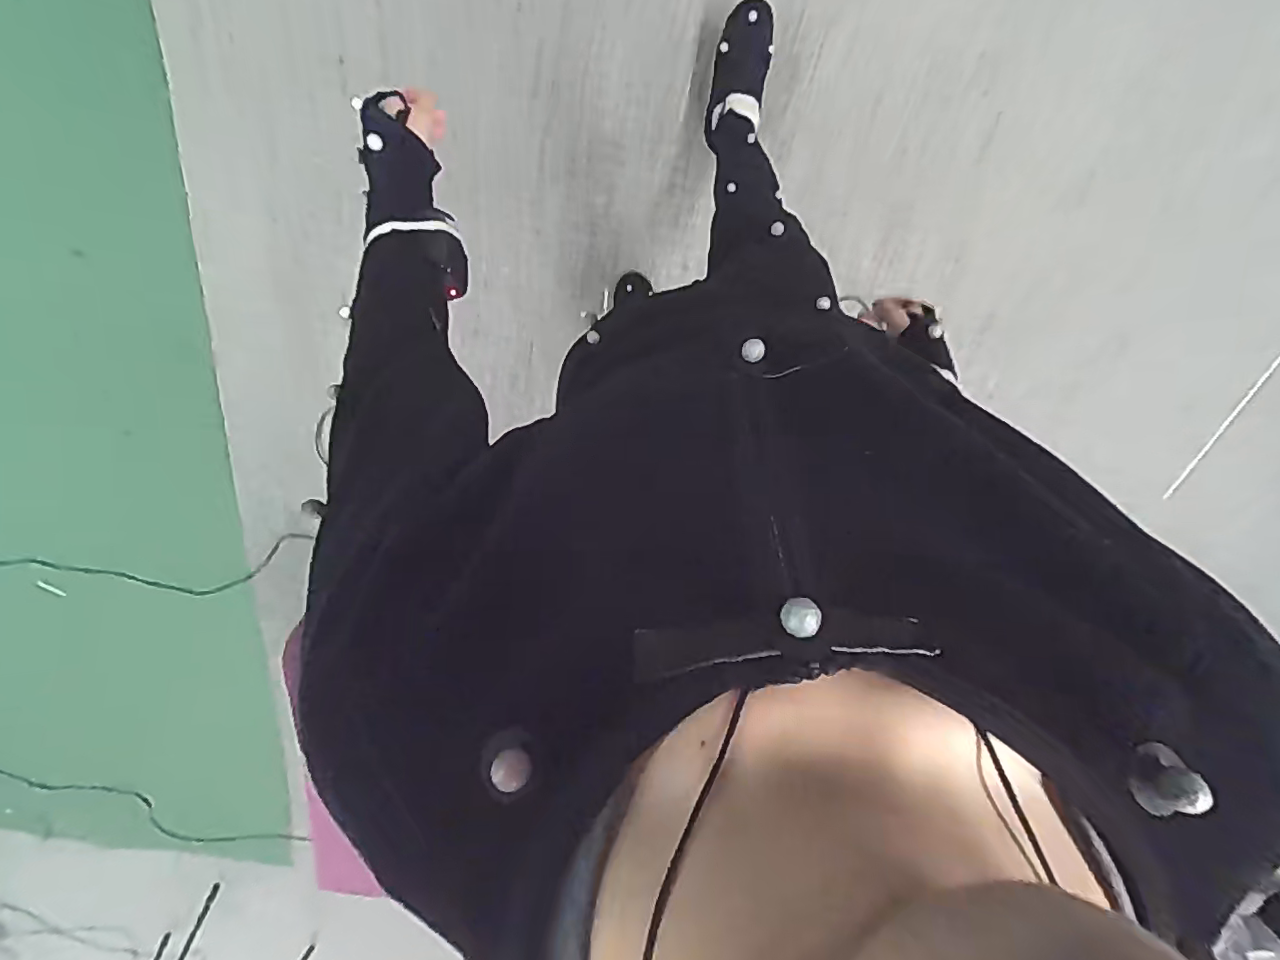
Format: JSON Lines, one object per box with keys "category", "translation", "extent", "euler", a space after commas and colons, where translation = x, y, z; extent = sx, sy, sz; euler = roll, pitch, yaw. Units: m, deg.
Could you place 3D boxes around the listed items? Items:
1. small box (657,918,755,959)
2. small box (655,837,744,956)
{"category": "small box", "translation": [0.126, 0.993, 1.054], "extent": [0.179, 0.176, 0.168], "euler": [6, 120, -1]}
{"category": "small box", "translation": [0.124, 0.933, 1.209], "extent": [0.168, 0.176, 0.179], "euler": [7, 120, -1]}
